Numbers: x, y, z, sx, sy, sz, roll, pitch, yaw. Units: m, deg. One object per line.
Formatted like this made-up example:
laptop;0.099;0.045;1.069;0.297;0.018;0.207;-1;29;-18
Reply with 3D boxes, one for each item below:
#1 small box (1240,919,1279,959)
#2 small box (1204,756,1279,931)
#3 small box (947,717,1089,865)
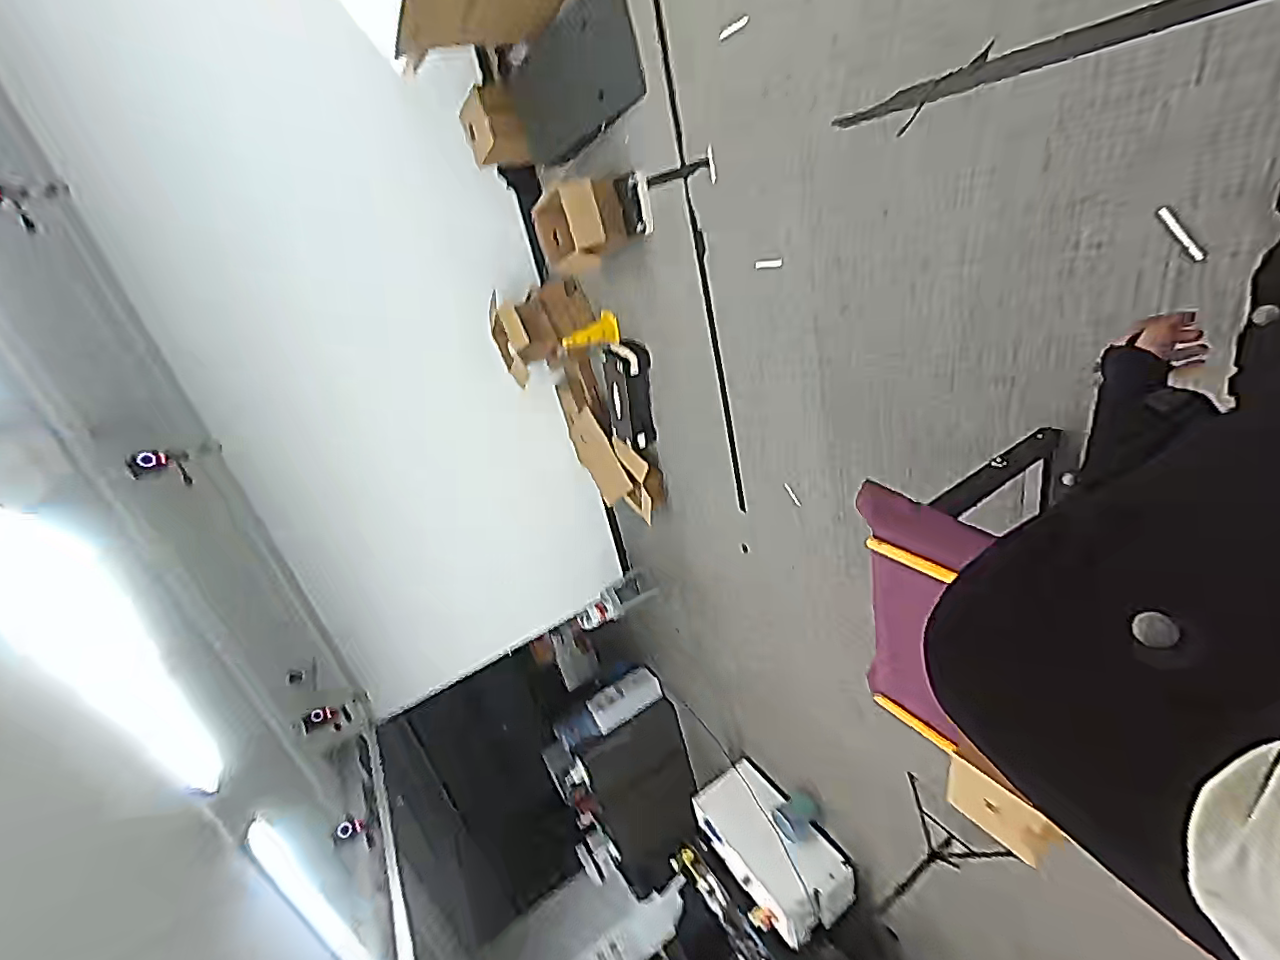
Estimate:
small box;0.984;0.744;0.769;0.168;0.176;0.179;29;136;54
small box;0.901;0.494;0.700;0.179;0.176;0.168;28;138;56
small box;0.771;0.624;1.115;0.179;0.176;0.168;28;136;54
